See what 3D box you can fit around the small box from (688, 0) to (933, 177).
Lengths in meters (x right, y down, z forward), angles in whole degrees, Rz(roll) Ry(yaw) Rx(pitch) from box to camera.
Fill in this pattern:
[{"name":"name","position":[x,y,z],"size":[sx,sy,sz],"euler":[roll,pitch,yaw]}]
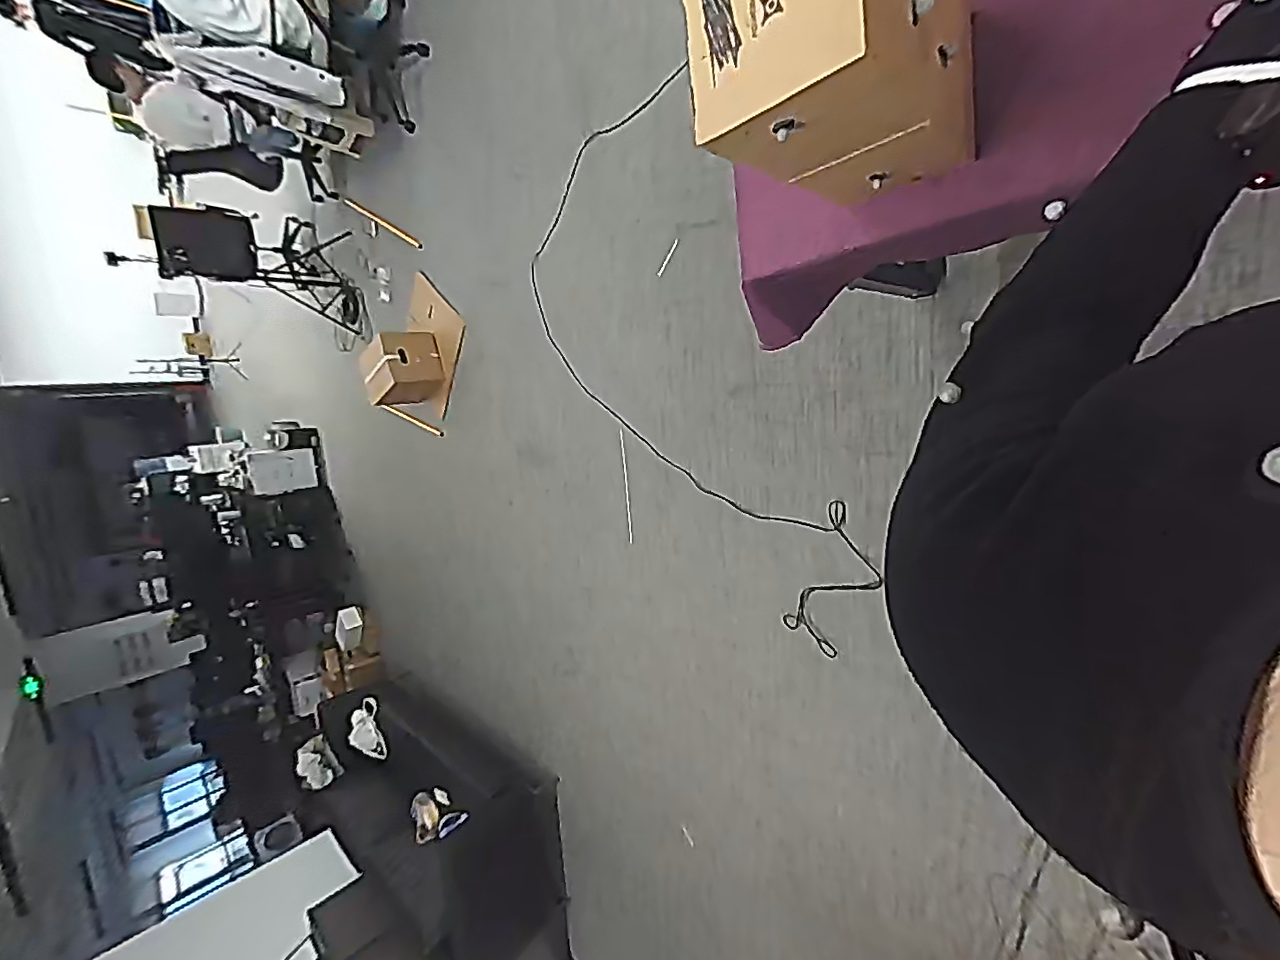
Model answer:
[{"name":"small box","position":[0.170,-0.433,0.541],"size":[0.179,0.176,0.168],"euler":[1,100,45]}]

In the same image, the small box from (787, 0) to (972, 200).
[{"name":"small box","position":[0.287,-0.459,0.654],"size":[0.168,0.176,0.179],"euler":[1,99,45]}]
